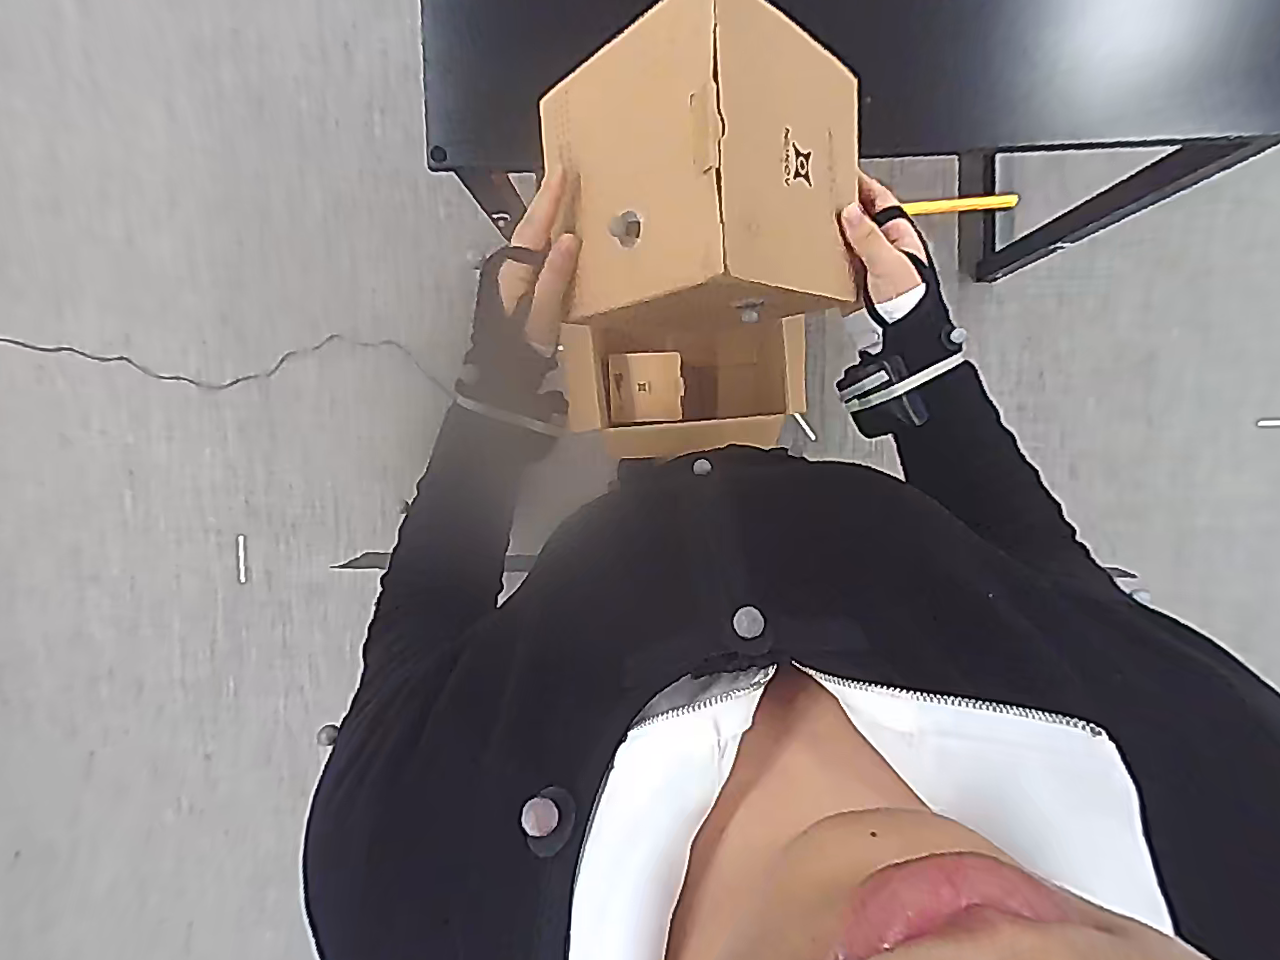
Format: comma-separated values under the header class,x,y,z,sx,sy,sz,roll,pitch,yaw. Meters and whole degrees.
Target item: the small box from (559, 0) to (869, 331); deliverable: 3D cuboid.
class,x,y,z,sx,sy,sz,roll,pitch,yaw
small box,0.052,-0.210,0.407,0.176,0.179,0.168,5,102,46
